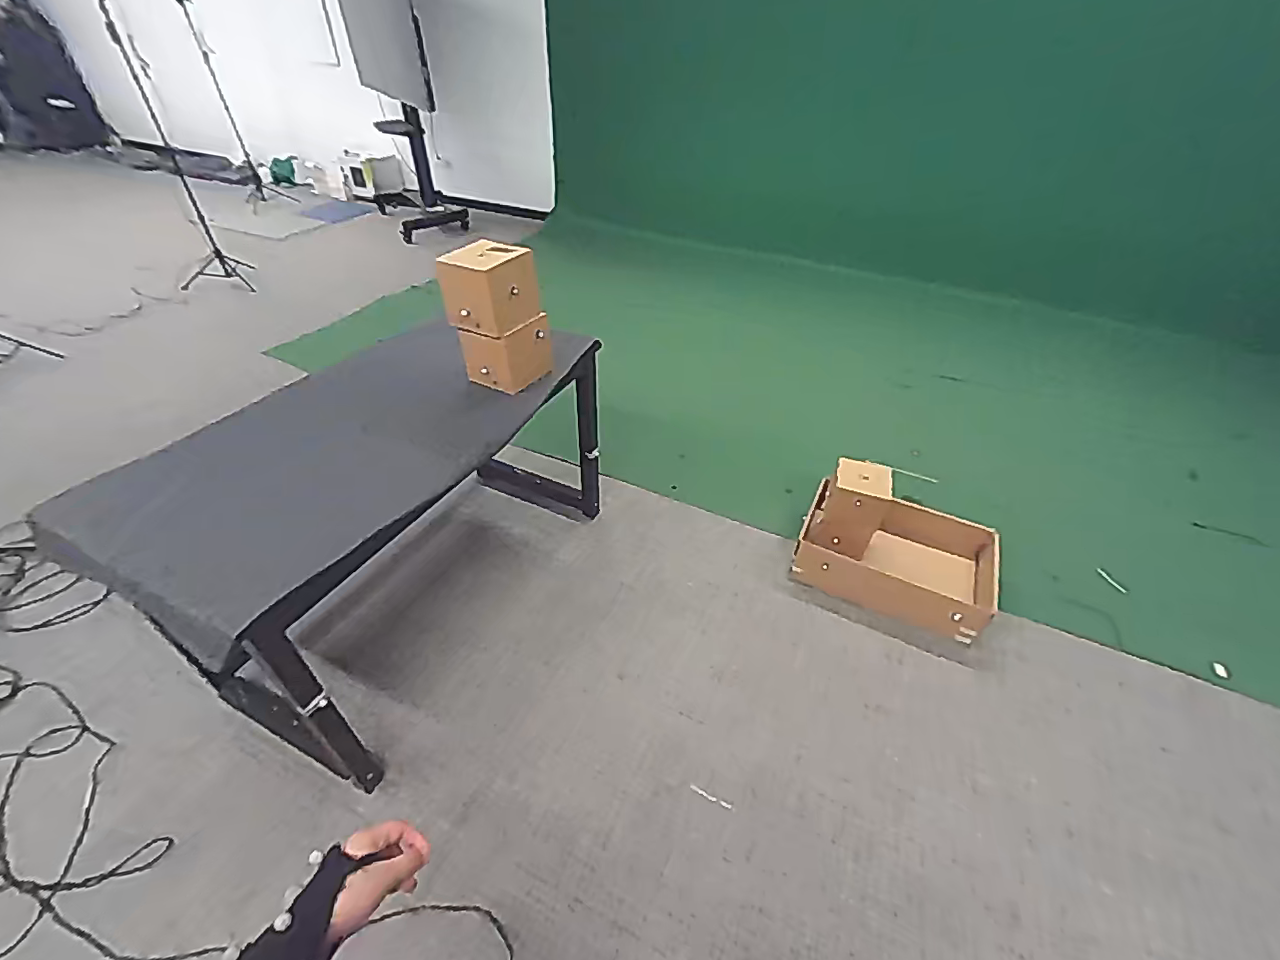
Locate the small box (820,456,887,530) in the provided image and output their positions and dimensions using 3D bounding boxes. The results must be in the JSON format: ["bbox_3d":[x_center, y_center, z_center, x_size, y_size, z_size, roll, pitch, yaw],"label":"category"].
[{"bbox_3d":[0.726,0.048,1.844,0.179,0.176,0.168,16,44,11],"label":"small box"}]

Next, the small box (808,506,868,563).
[{"bbox_3d":[0.723,0.172,1.951,0.179,0.176,0.168,21,45,20],"label":"small box"}]

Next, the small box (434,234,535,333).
[{"bbox_3d":[-0.380,-0.493,1.354,0.168,0.176,0.179,20,45,22],"label":"small box"}]

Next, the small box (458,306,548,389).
[{"bbox_3d":[-0.365,-0.372,1.465,0.168,0.176,0.179,21,45,23],"label":"small box"}]
